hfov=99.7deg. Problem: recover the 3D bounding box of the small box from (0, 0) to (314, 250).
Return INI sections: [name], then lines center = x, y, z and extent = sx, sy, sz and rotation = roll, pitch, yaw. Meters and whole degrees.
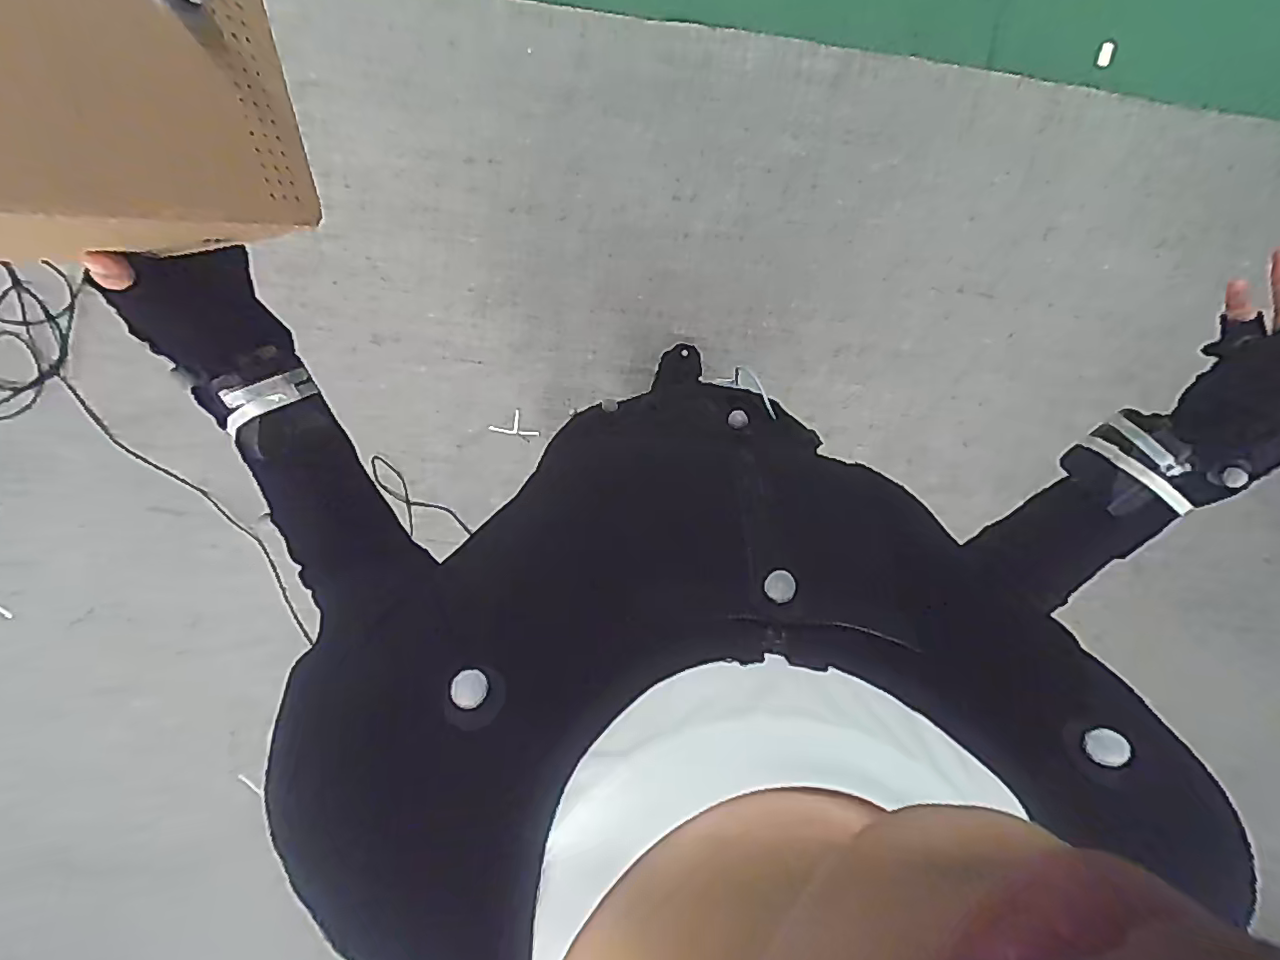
[small box]
center = -0.269, -0.187, 0.202
extent = 0.168, 0.176, 0.179
rotation = 3, 113, 21
